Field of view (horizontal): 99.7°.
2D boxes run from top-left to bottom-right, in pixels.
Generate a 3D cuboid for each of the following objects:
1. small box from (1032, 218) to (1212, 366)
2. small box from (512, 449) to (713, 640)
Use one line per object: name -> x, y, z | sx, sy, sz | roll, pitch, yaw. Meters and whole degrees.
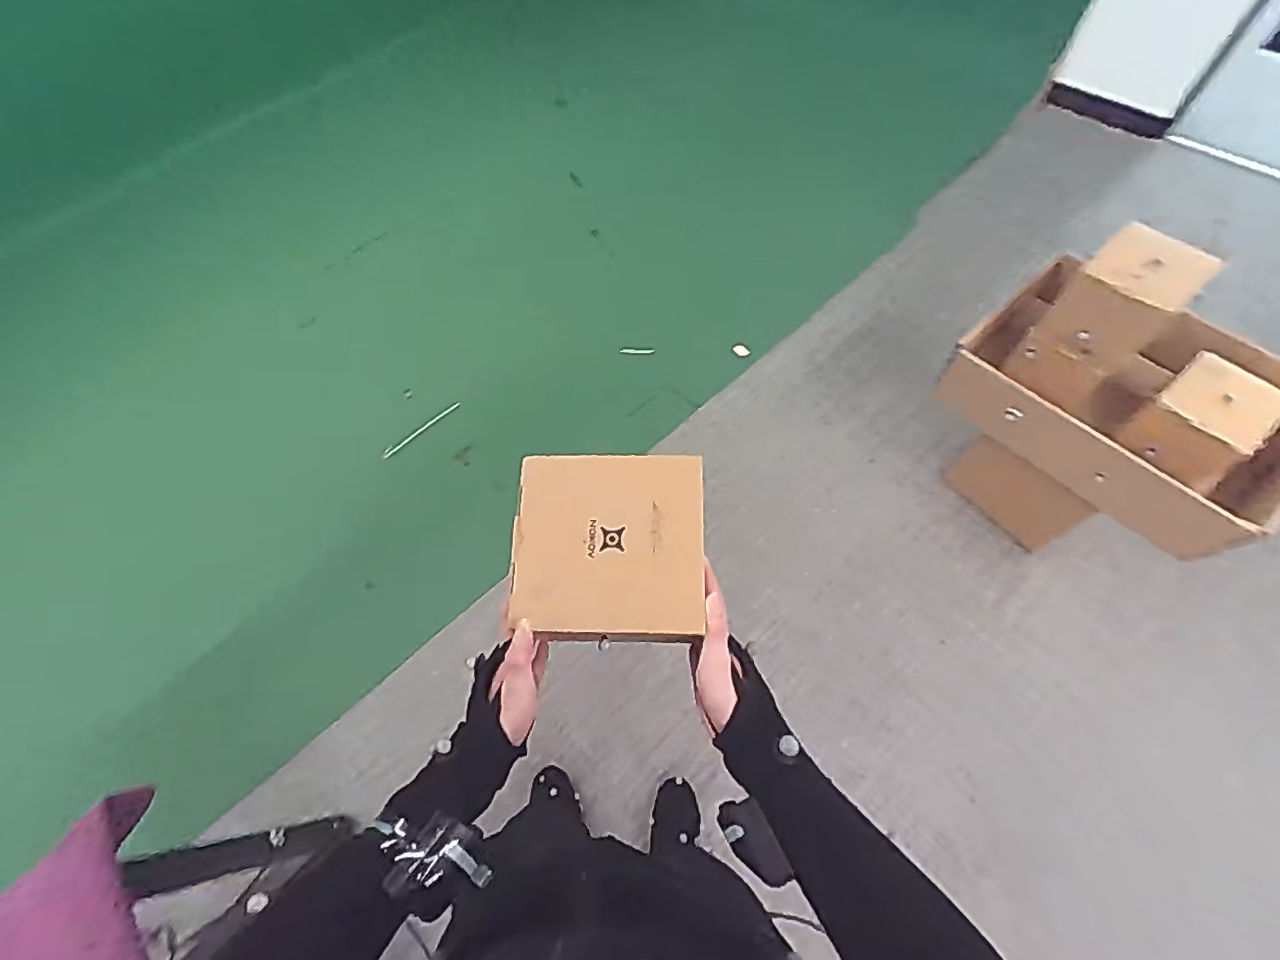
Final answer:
small box -> 0.923, -0.362, 1.056 | 0.179, 0.176, 0.168 | -40, 66, -13
small box -> -0.018, 0.075, 0.562 | 0.179, 0.176, 0.168 | 1, 71, 3
